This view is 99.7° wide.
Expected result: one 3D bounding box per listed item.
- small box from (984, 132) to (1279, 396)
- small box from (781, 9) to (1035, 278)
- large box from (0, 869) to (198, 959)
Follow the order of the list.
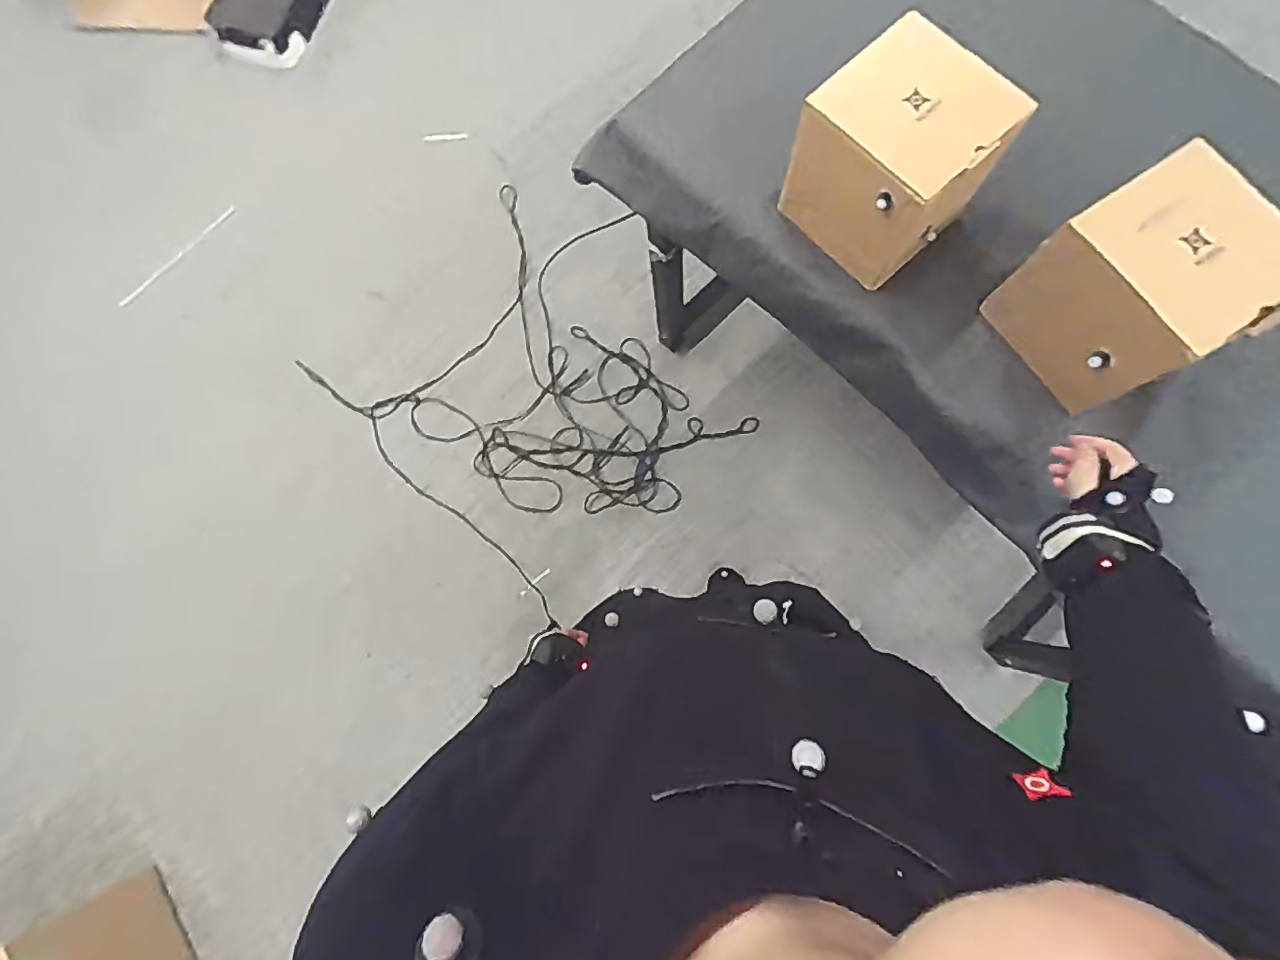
[{"bbox_3d":[0.531,-0.212,0.585,0.168,0.176,0.179,-33,77,-3],"label":"small box"},{"bbox_3d":[0.292,-0.380,0.638,0.168,0.176,0.179,-42,79,-5],"label":"small box"},{"bbox_3d":[-1.215,1.175,1.152,0.320,0.320,0.408,-37,77,-3],"label":"large box"}]
